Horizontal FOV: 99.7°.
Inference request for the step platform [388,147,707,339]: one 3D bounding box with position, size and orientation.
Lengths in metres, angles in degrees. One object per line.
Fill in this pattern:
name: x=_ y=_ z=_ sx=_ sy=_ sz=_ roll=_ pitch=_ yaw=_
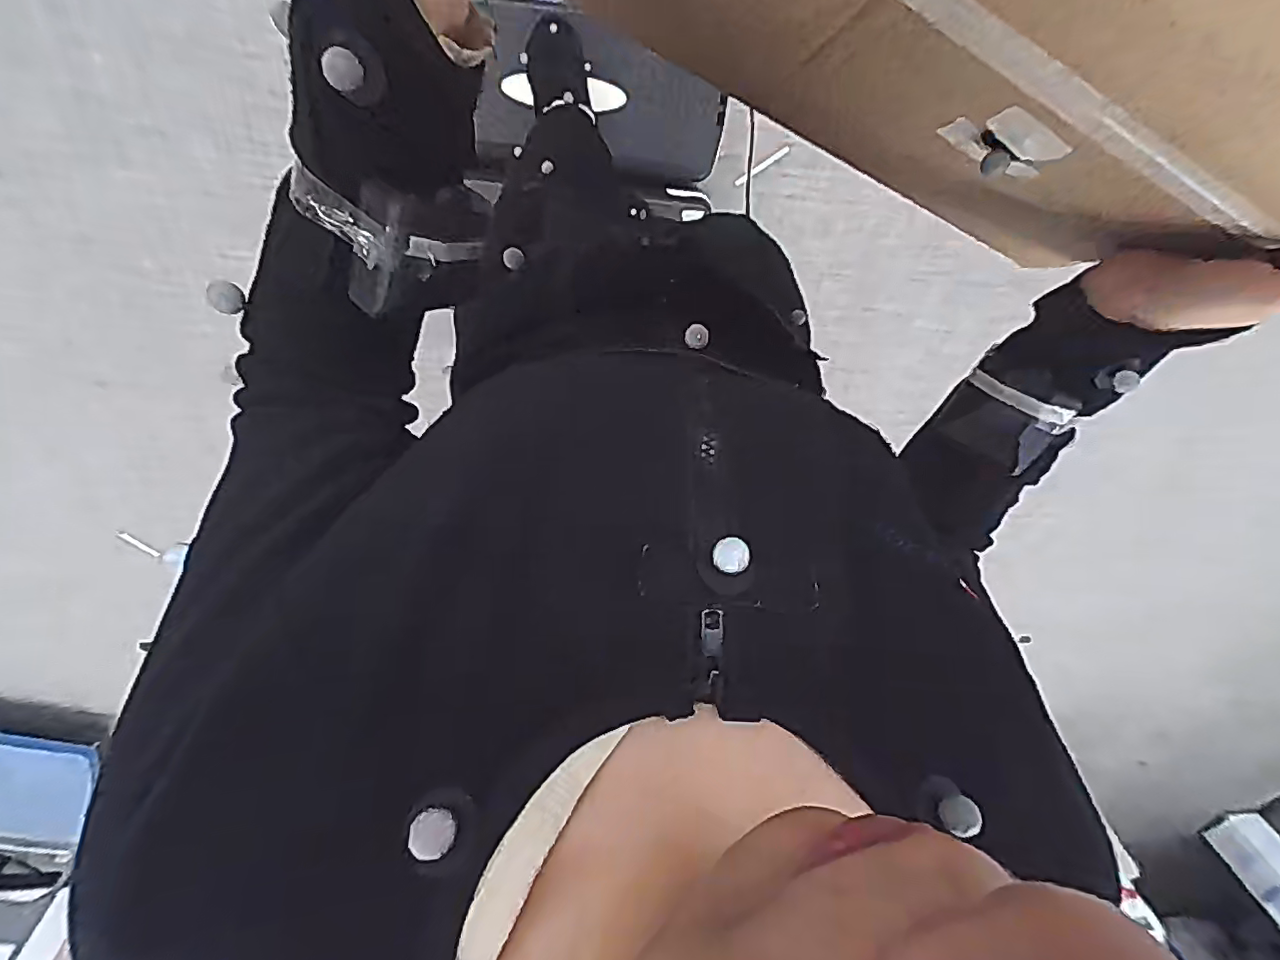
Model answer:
step platform: x=-0.196 y=-0.526 z=1.226 sx=0.684 sy=0.204 sz=0.286 roll=7 pitch=124 yaw=-9
